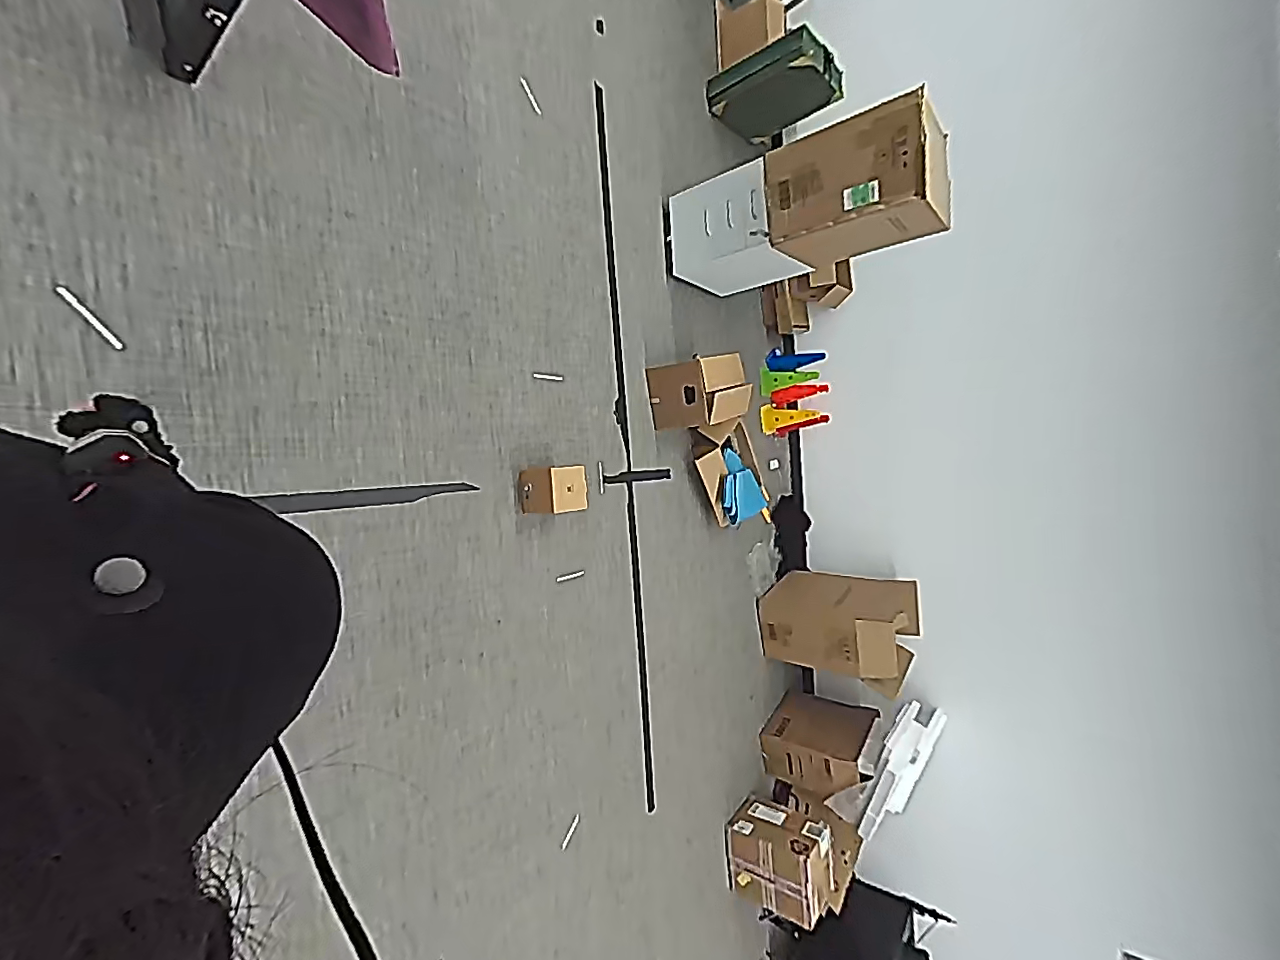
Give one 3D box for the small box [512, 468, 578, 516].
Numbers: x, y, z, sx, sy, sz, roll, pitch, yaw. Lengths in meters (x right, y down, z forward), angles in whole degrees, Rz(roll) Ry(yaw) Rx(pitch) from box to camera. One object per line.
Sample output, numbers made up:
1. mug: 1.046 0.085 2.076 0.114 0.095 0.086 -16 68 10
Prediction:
1. small box: -0.353 0.041 2.008 0.179 0.176 0.168 -6 92 -52
